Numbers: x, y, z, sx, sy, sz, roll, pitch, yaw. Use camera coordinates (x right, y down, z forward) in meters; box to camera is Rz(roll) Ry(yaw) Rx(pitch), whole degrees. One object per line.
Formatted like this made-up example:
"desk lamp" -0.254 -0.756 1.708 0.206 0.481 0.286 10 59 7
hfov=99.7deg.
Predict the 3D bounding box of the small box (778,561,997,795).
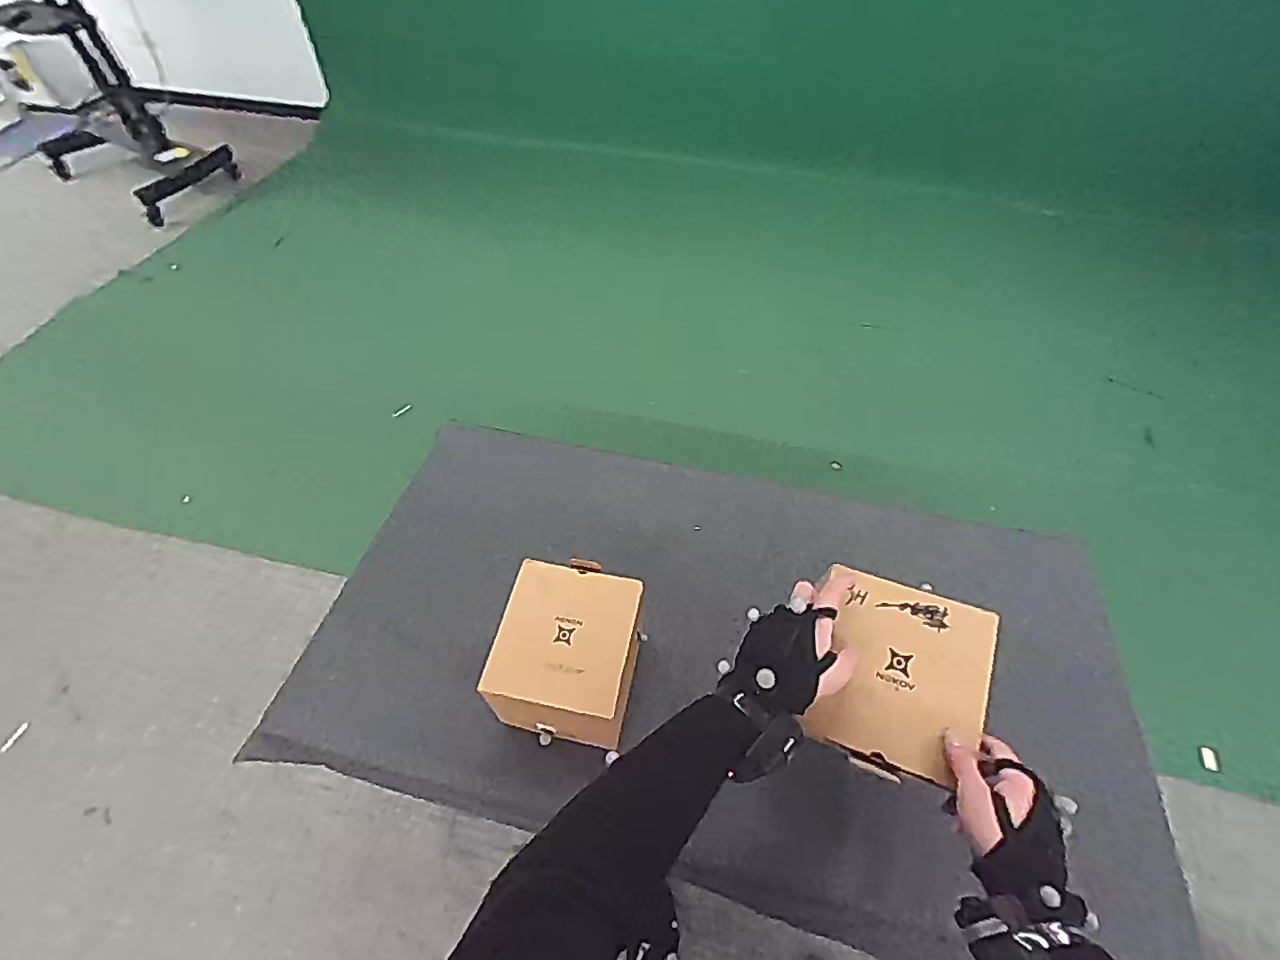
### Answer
"small box" 0.264 0.221 0.614 0.168 0.176 0.179 21 69 16

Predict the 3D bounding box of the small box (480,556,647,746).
"small box" -0.090 0.231 0.724 0.168 0.176 0.179 10 53 7
